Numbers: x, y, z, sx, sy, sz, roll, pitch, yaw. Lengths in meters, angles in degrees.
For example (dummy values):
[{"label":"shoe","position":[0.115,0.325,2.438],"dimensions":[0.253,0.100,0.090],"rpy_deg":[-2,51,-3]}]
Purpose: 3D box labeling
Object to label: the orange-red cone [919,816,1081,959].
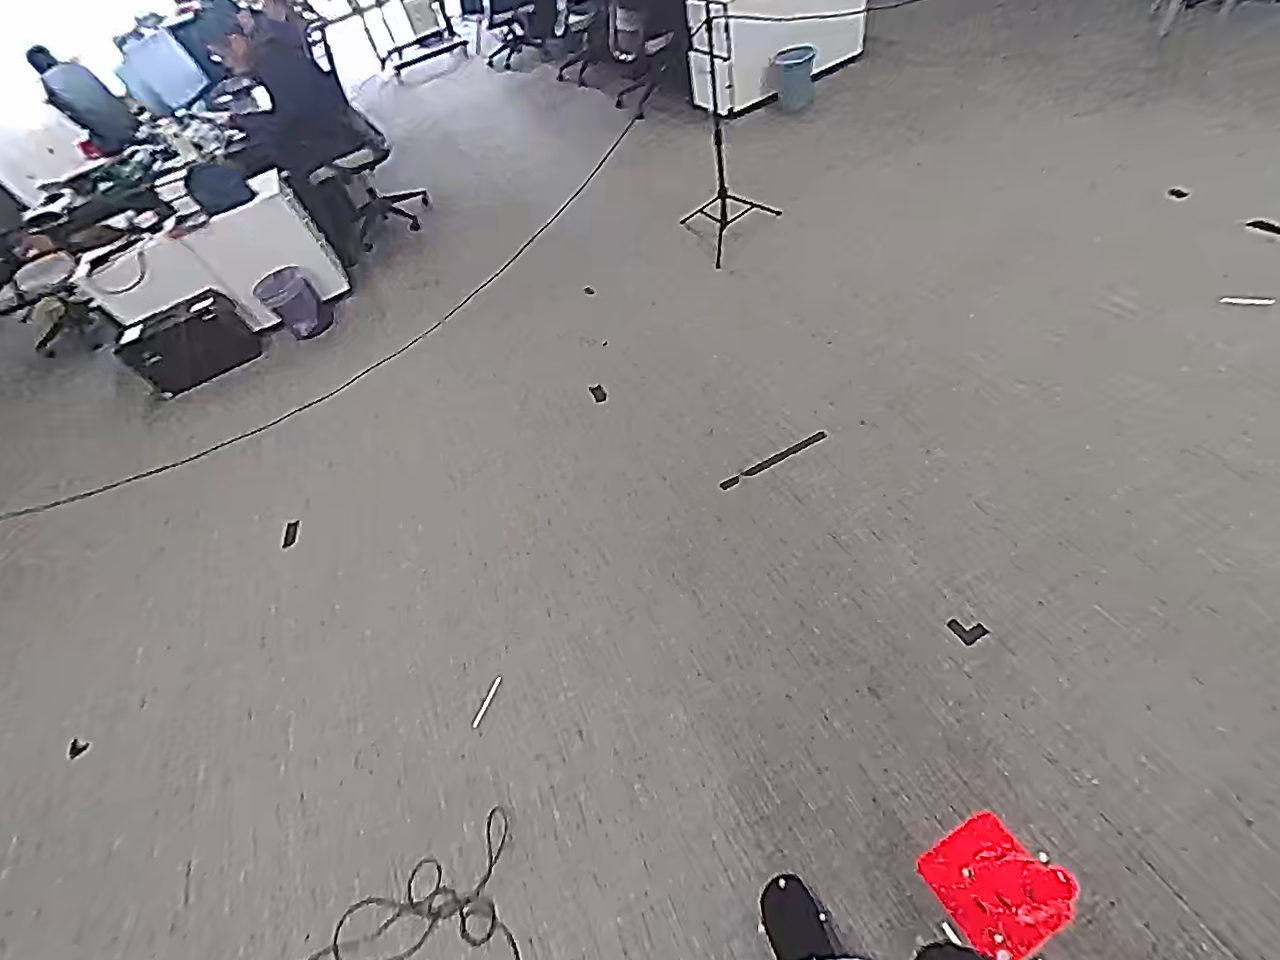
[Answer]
[{"label":"orange-red cone","position":[0.645,0.688,0.911],"dimensions":[0.199,0.360,0.198],"rpy_deg":[-28,52,-9]}]
